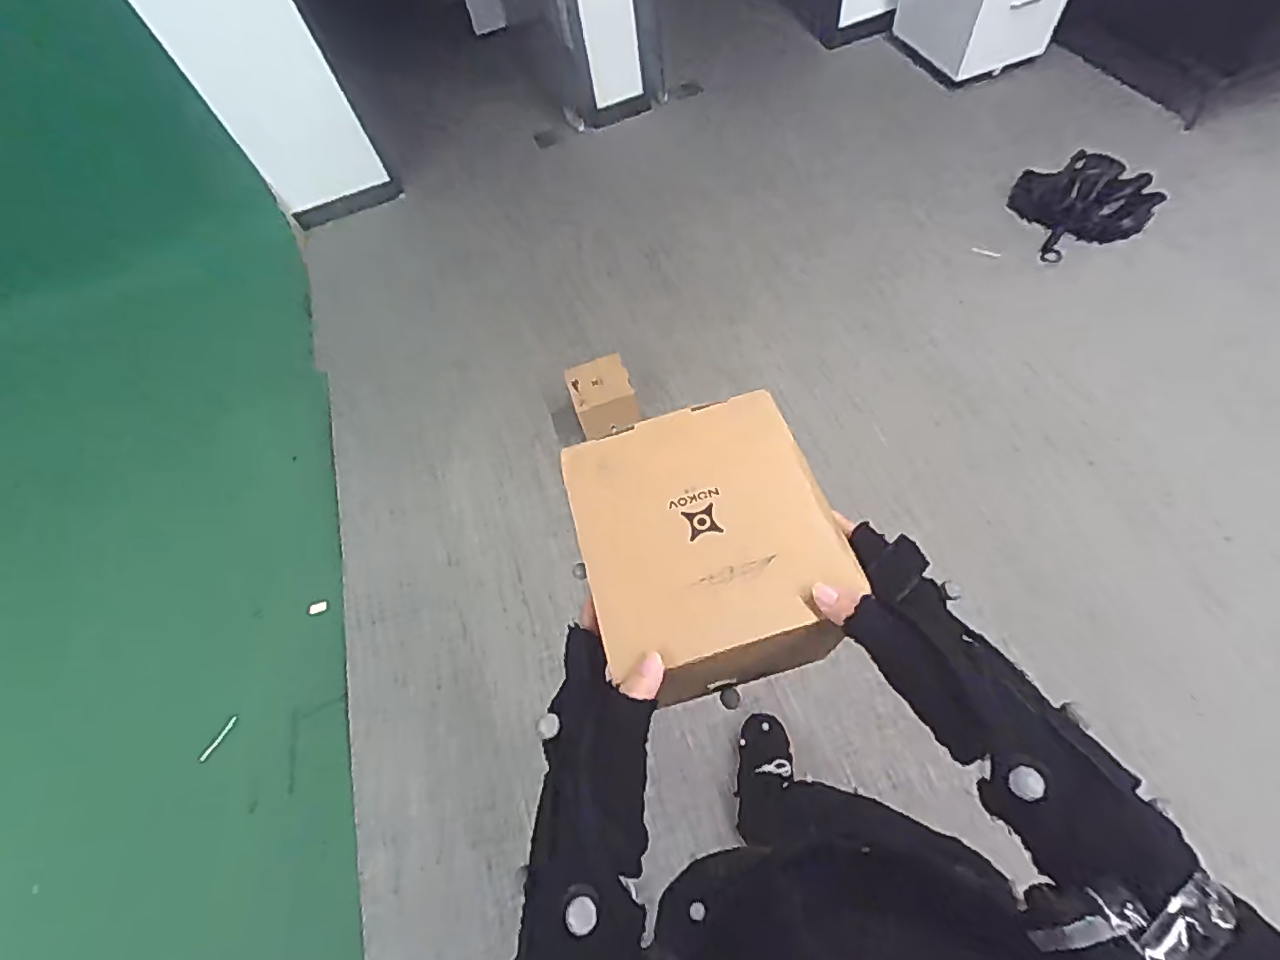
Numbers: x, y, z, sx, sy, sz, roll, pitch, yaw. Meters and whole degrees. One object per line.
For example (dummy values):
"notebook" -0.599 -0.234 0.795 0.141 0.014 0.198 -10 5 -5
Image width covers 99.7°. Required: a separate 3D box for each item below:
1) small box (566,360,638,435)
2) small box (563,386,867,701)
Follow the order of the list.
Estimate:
"small box" -0.110 -0.233 1.653 0.179 0.176 0.168 -18 60 -2
"small box" 0.048 0.059 0.436 0.168 0.176 0.179 -17 61 -2
